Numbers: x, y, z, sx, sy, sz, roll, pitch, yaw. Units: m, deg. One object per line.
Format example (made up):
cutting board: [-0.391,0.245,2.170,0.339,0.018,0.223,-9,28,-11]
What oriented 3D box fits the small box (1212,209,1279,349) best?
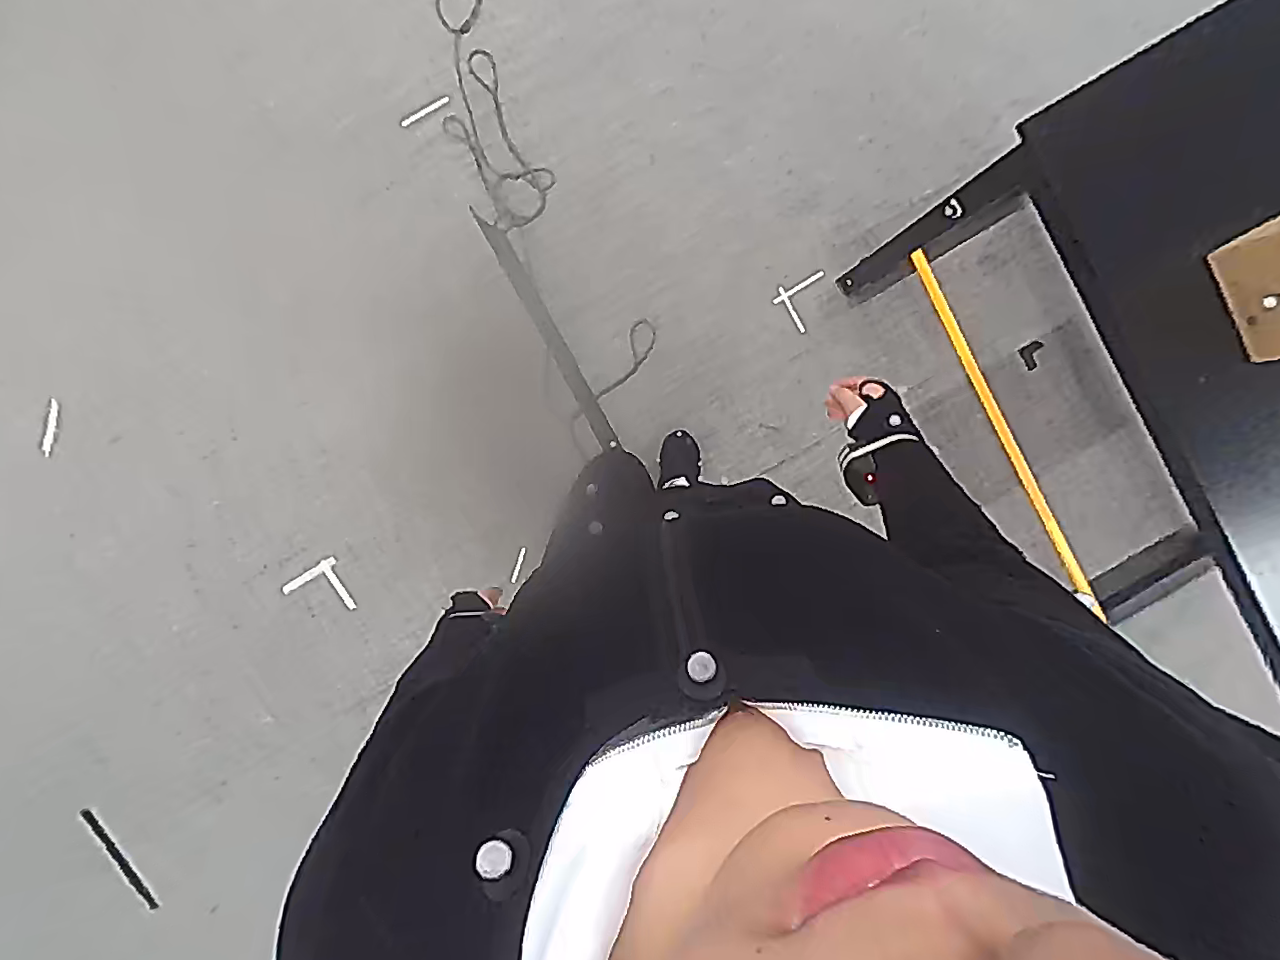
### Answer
small box: [0.883,-0.280,0.657,0.179,0.176,0.168,-29,94,2]
